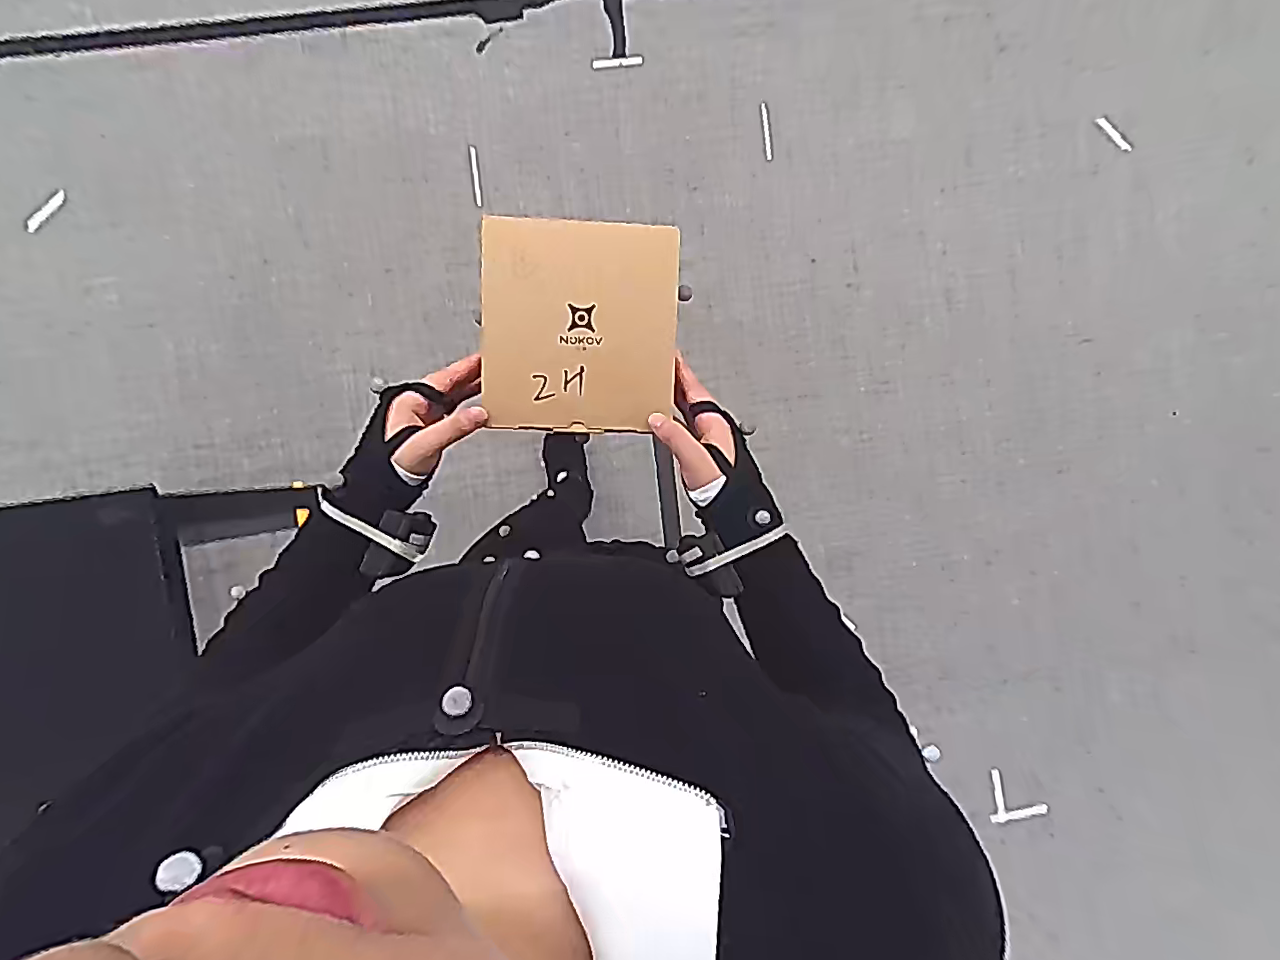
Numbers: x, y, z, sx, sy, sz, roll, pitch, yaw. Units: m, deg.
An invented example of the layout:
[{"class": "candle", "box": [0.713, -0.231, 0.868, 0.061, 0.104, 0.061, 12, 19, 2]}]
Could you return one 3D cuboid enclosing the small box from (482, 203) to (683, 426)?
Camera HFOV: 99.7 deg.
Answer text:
[{"class": "small box", "box": [-0.054, -0.145, 0.535, 0.168, 0.176, 0.179, 2, 96, -3]}]
